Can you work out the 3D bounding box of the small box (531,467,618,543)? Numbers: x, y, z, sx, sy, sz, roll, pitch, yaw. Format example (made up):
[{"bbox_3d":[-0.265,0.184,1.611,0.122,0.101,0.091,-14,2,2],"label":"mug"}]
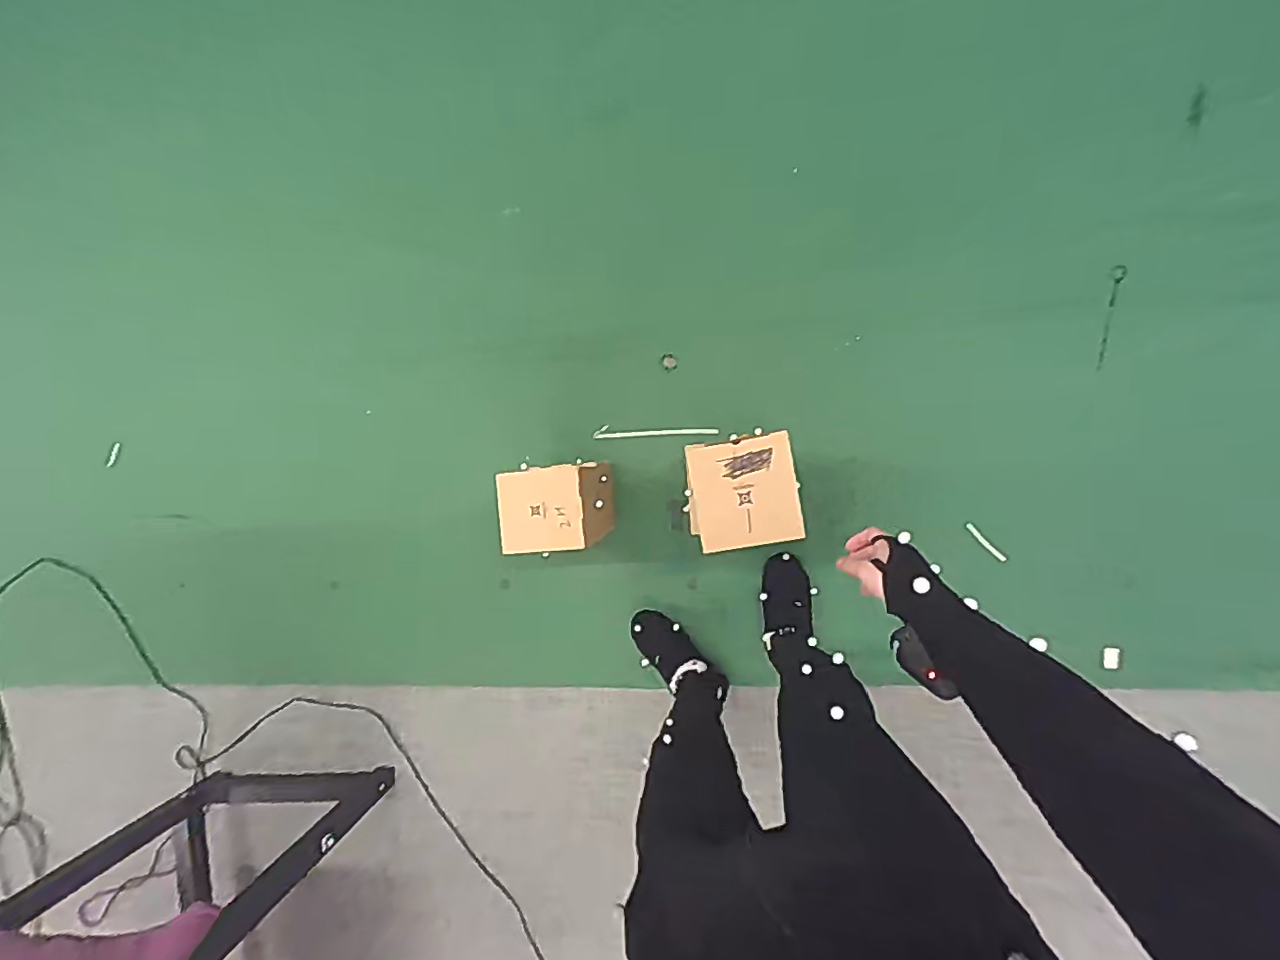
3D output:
[{"bbox_3d":[-0.154,0.061,1.320,0.168,0.176,0.179,-5,90,9],"label":"small box"}]

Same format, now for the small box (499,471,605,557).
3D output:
[{"bbox_3d":[-0.182,0.069,1.158,0.179,0.176,0.168,-5,91,9],"label":"small box"}]

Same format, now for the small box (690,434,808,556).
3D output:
[{"bbox_3d":[0.181,0.022,0.936,0.168,0.176,0.179,-10,92,8],"label":"small box"}]

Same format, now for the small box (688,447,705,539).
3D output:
[{"bbox_3d":[0.188,0.018,1.100,0.168,0.176,0.179,-4,91,8],"label":"small box"}]
